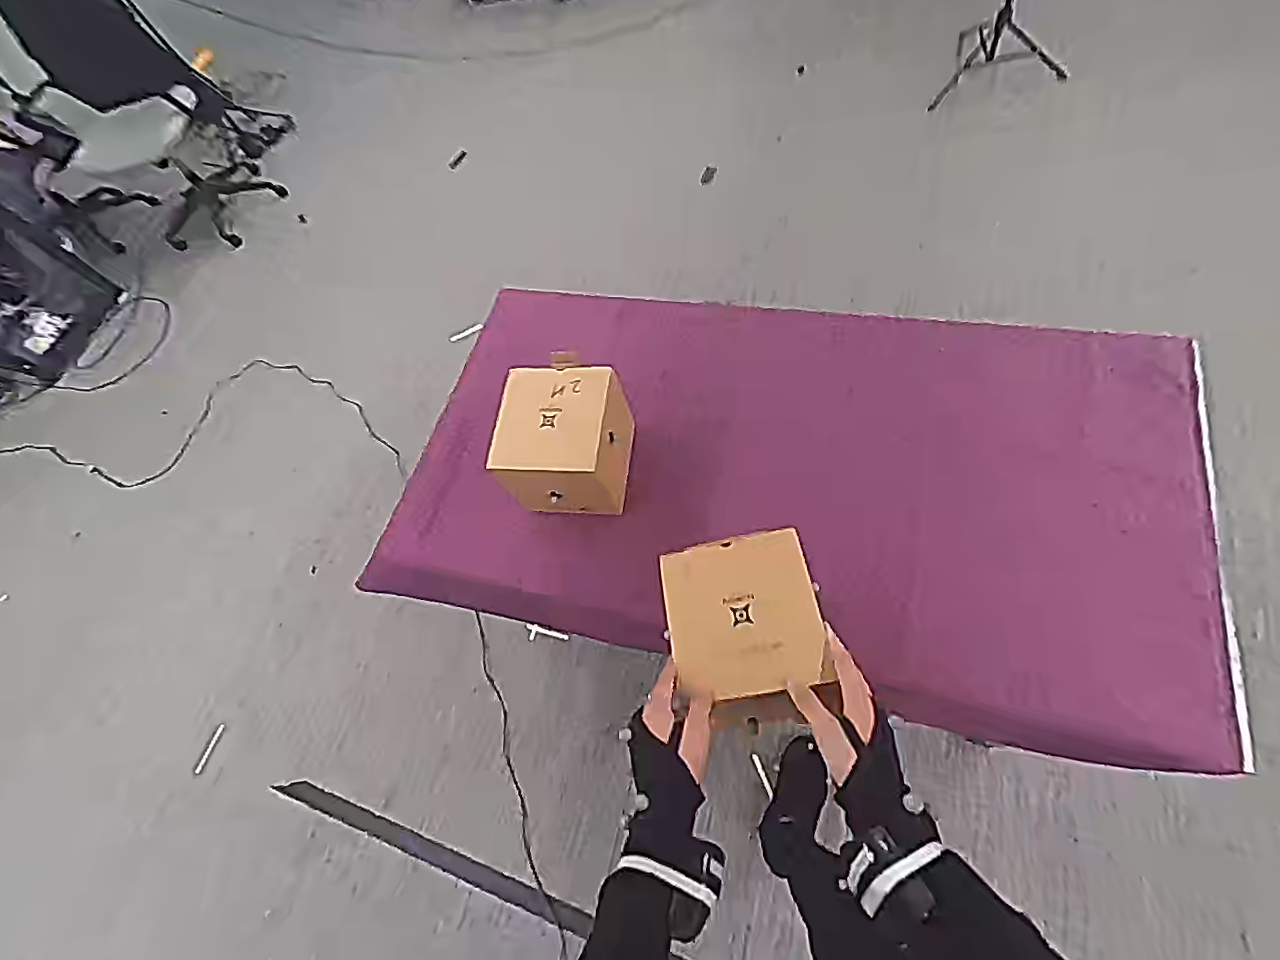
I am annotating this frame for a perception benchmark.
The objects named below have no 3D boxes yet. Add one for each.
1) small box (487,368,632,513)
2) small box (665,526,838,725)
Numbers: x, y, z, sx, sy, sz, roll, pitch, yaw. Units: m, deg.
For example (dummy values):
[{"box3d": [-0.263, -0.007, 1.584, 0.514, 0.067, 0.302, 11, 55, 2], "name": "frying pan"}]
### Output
[{"box3d": [-0.114, -0.056, 0.855, 0.168, 0.176, 0.179, 2, 66, 13], "name": "small box"}, {"box3d": [0.133, 0.183, 0.661, 0.168, 0.176, 0.179, -12, 54, 9], "name": "small box"}]
